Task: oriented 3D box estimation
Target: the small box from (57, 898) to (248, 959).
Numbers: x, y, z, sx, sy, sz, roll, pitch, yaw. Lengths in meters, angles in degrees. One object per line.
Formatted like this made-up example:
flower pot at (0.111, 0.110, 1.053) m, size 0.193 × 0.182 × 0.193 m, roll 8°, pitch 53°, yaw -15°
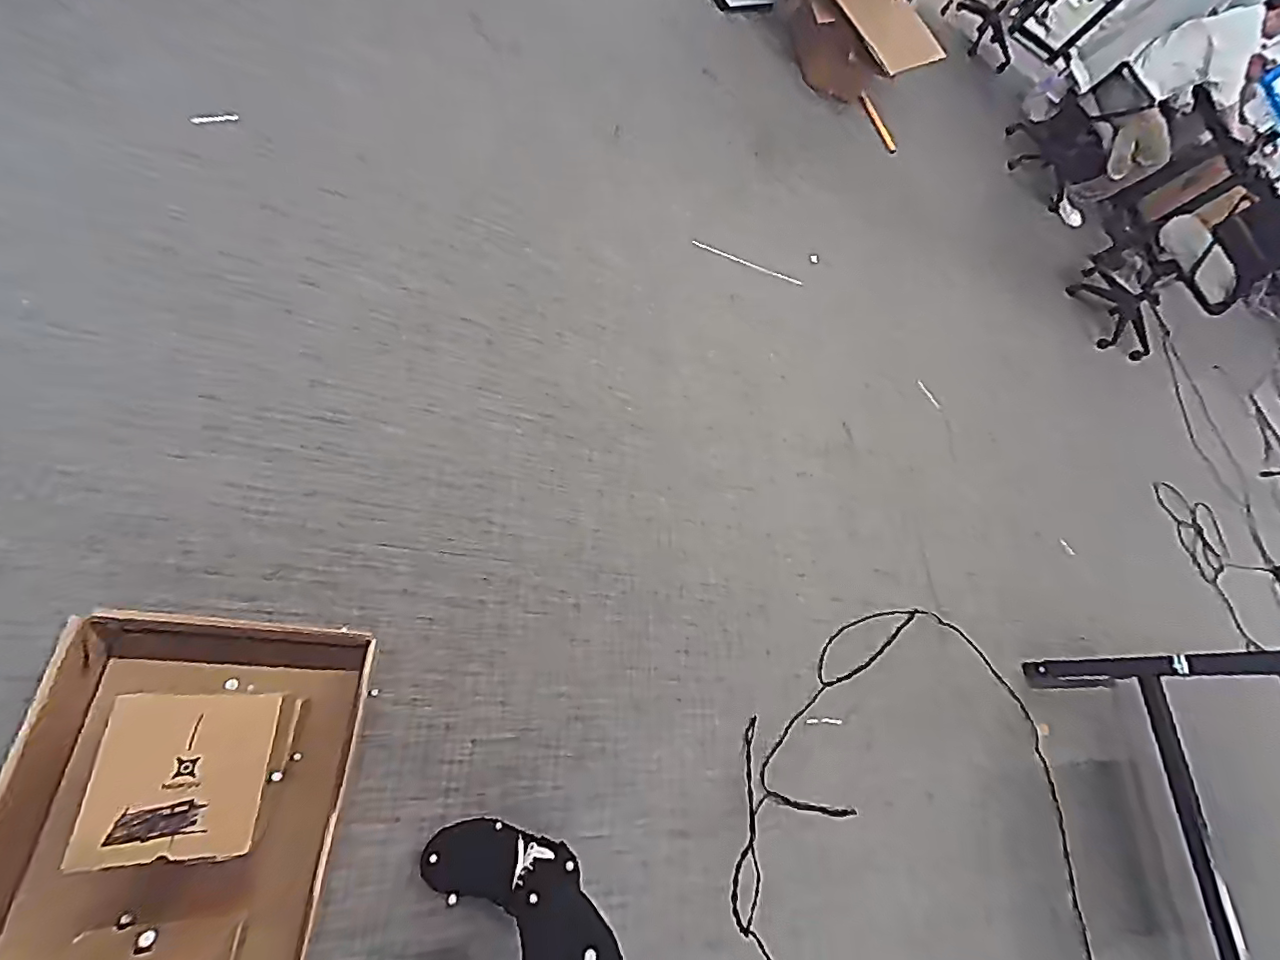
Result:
small box at (-0.647, 0.674, 0.707) m, size 0.179 × 0.176 × 0.168 m, roll 13°, pitch 64°, yaw -21°

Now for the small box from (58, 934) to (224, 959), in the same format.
small box at (-0.574, 0.616, 0.572) m, size 0.168 × 0.176 × 0.179 m, roll 12°, pitch 64°, yaw -22°
